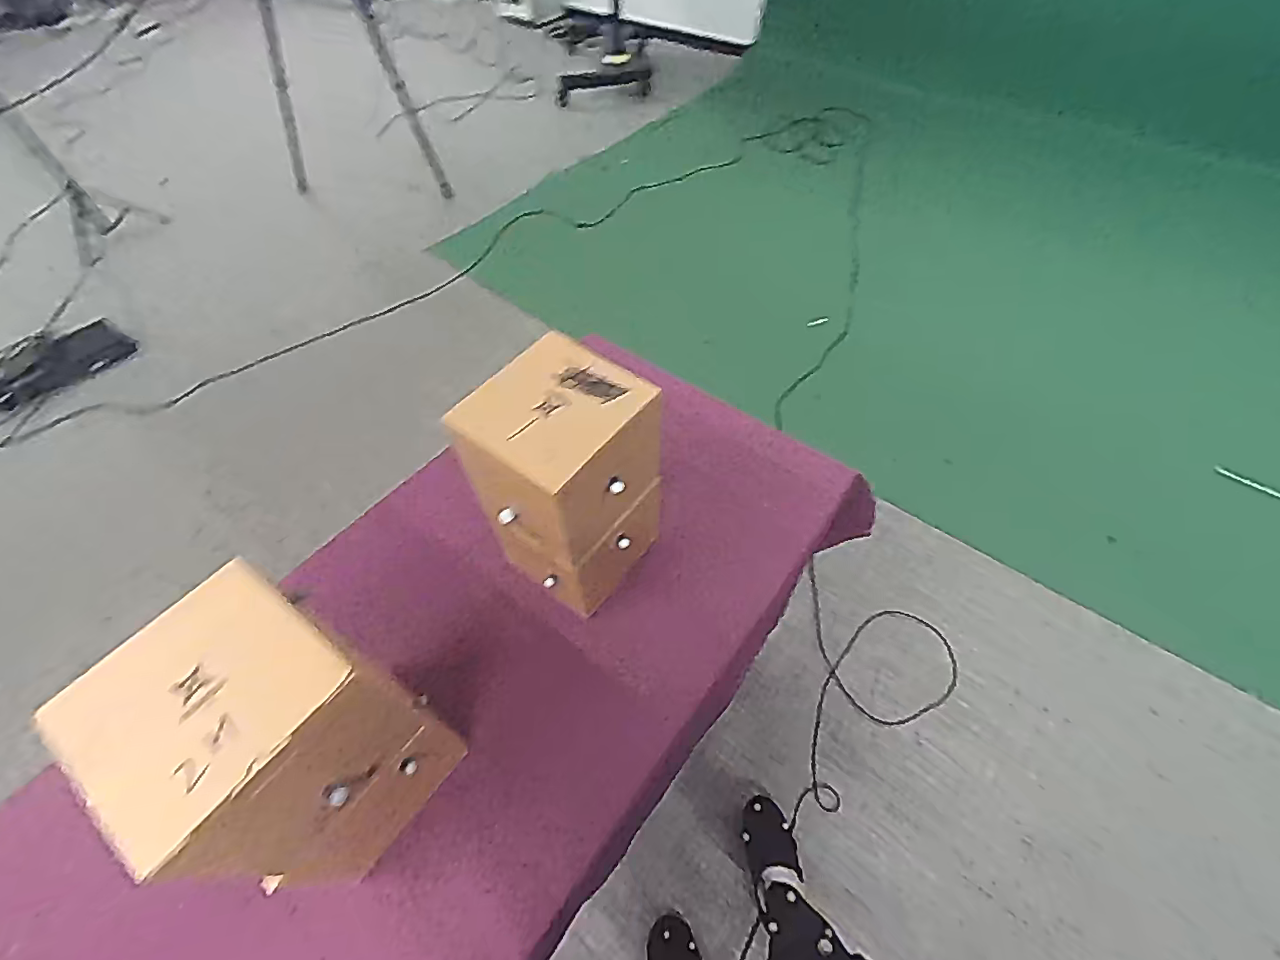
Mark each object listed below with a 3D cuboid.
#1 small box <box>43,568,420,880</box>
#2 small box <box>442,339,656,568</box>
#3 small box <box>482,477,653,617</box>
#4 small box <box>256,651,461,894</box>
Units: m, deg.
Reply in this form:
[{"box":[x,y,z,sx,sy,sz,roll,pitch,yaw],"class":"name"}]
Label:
[{"box":[-0.336,0.217,0.480,0.179,0.176,0.168,30,60,21],"class":"small box"},{"box":[-0.097,-0.029,0.651,0.168,0.176,0.179,31,62,21],"class":"small box"},{"box":[-0.092,0.067,0.784,0.168,0.176,0.179,32,61,21],"class":"small box"},{"box":[-0.334,0.321,0.609,0.168,0.176,0.179,29,59,21],"class":"small box"}]
